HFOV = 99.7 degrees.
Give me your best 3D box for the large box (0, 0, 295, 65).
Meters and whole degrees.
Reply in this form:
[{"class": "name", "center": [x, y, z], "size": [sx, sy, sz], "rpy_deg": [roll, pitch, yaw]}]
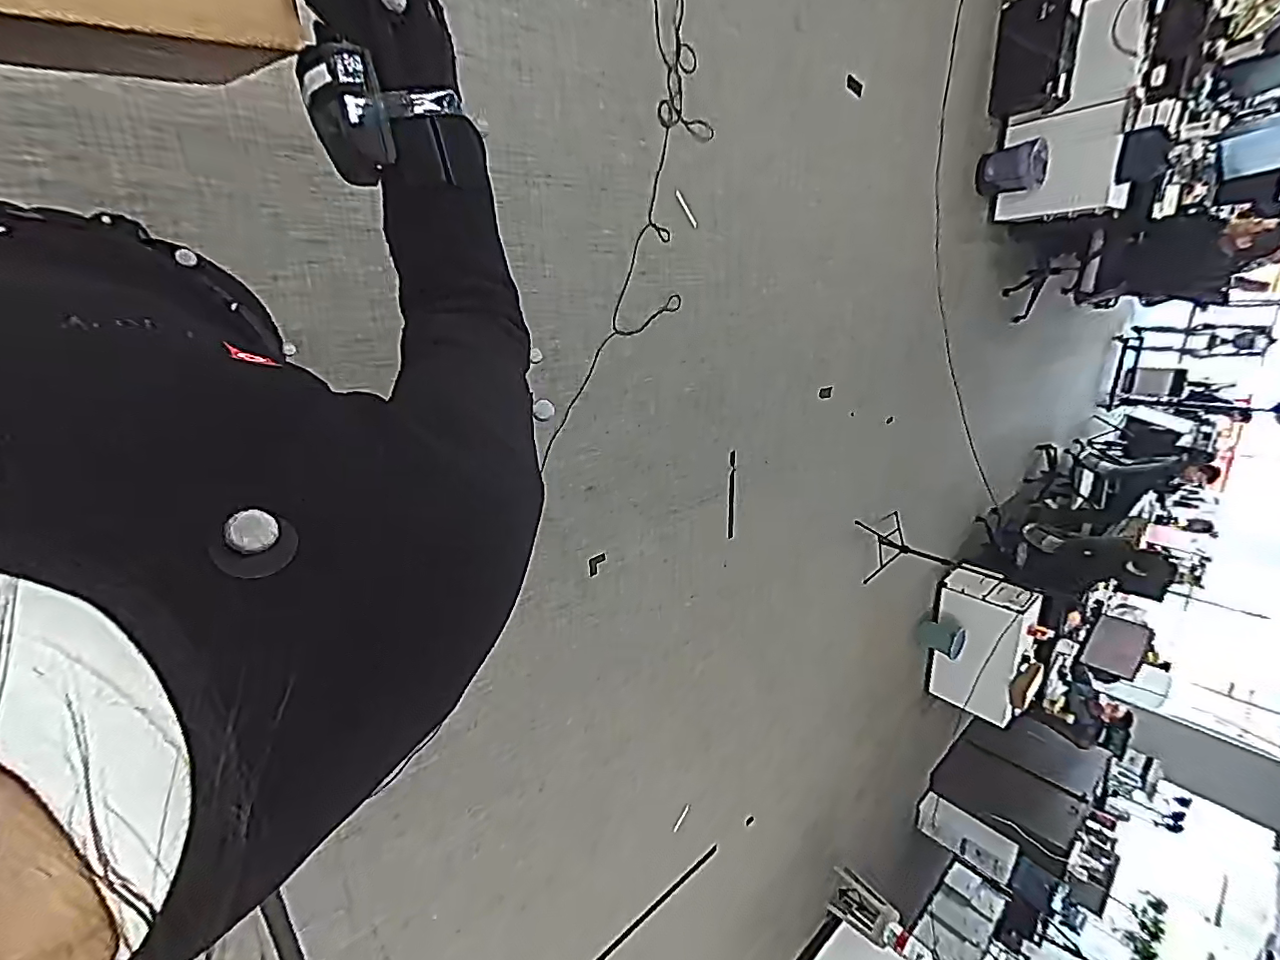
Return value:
[{"class": "large box", "center": [-0.443, -0.390, 0.218], "size": [0.408, 0.320, 0.320], "rpy_deg": [-23, 131, -35]}]
